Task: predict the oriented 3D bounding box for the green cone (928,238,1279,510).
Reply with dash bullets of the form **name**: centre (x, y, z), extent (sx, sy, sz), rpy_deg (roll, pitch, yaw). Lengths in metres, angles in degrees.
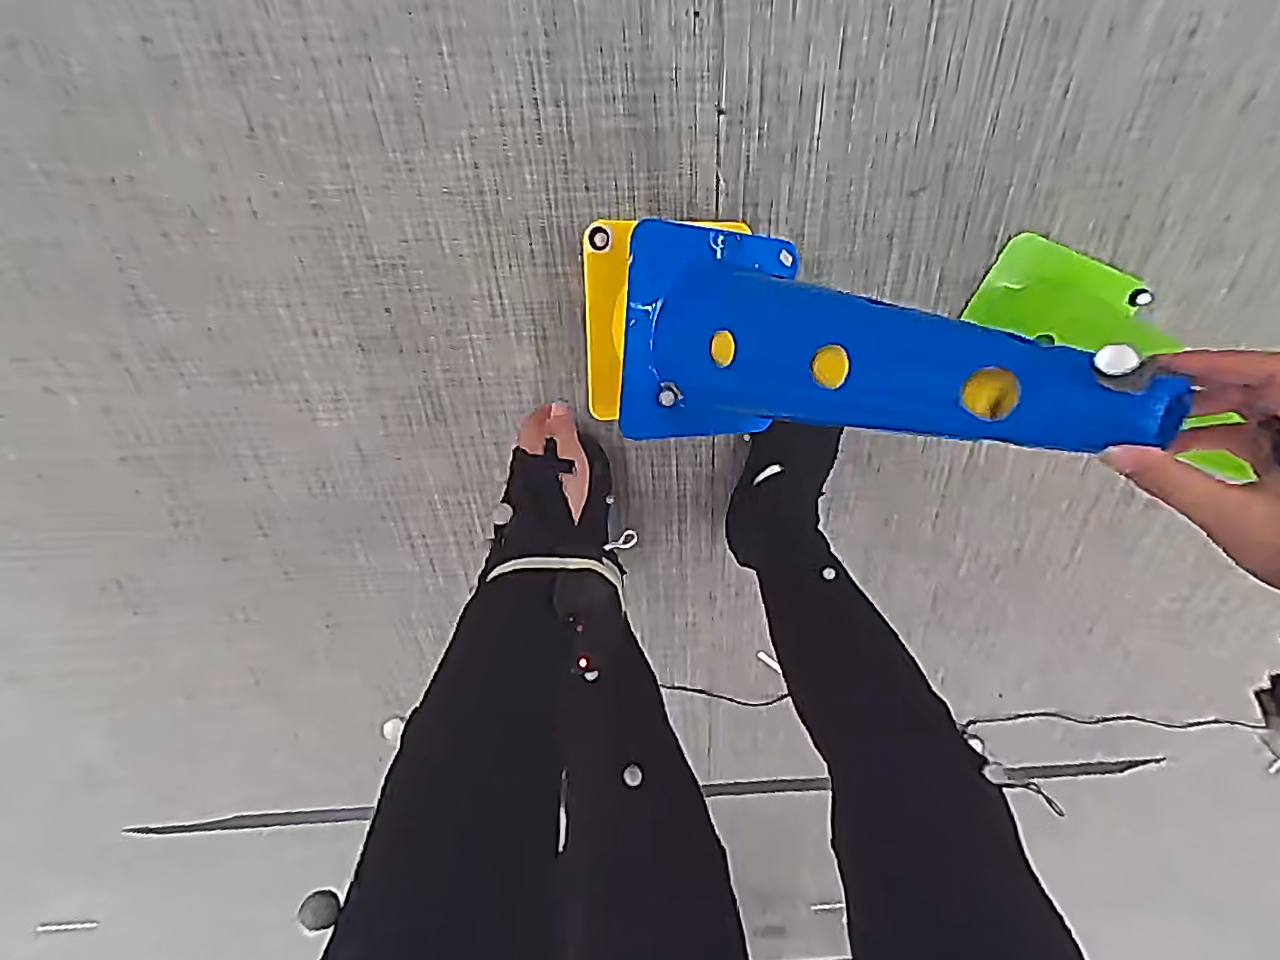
- **green cone**: centre (0.484, -0.075, 0.510), extent (0.200, 0.368, 0.202), rpy_deg (15, 120, -11)
